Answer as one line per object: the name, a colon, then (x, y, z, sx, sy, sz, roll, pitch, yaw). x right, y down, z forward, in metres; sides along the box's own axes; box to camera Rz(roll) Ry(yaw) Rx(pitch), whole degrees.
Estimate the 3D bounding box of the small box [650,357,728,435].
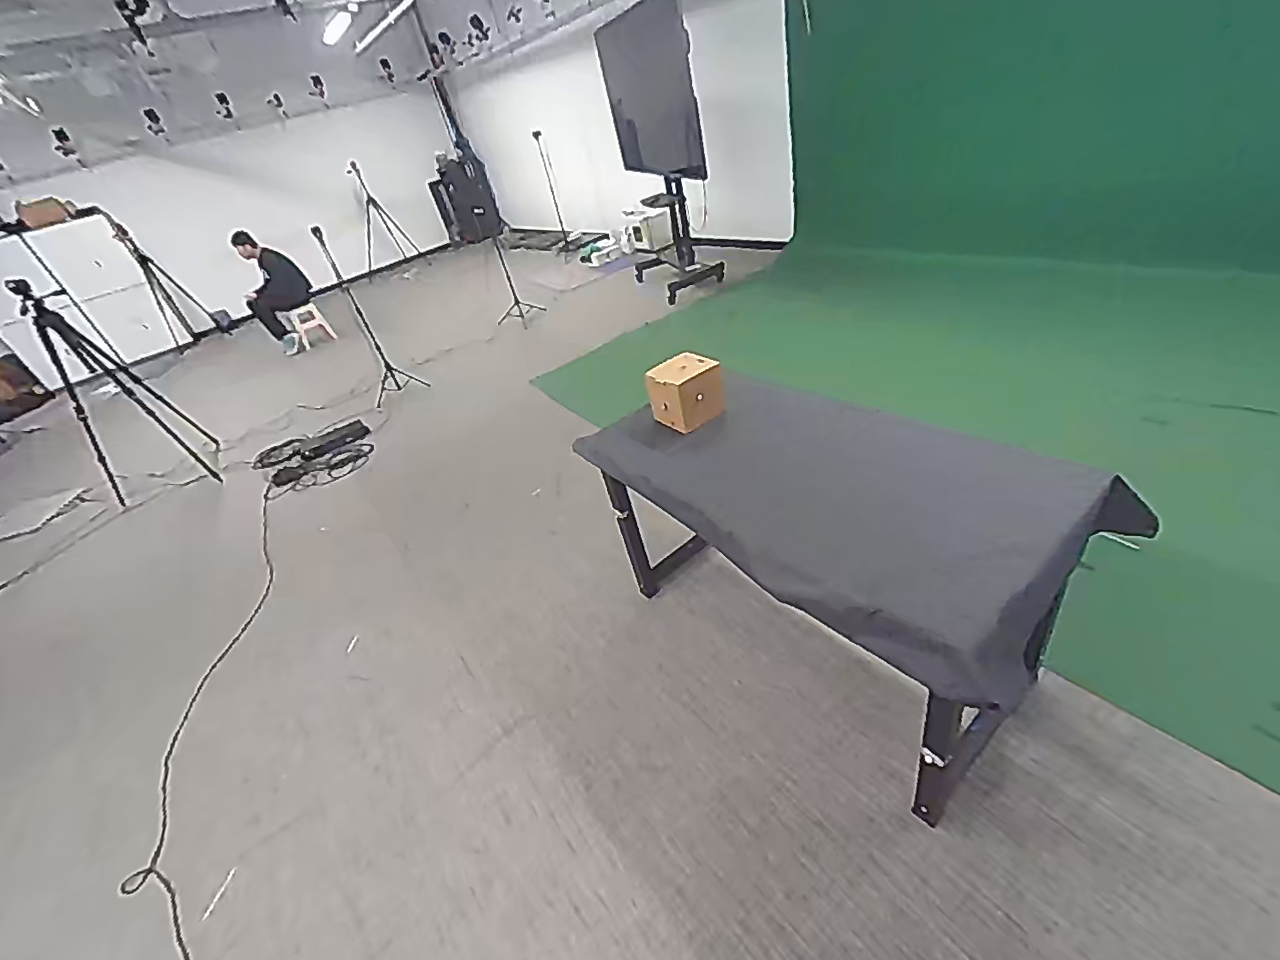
small box: (0.160, -0.264, 1.707, 0.179, 0.176, 0.168, -32, 39, -22)
